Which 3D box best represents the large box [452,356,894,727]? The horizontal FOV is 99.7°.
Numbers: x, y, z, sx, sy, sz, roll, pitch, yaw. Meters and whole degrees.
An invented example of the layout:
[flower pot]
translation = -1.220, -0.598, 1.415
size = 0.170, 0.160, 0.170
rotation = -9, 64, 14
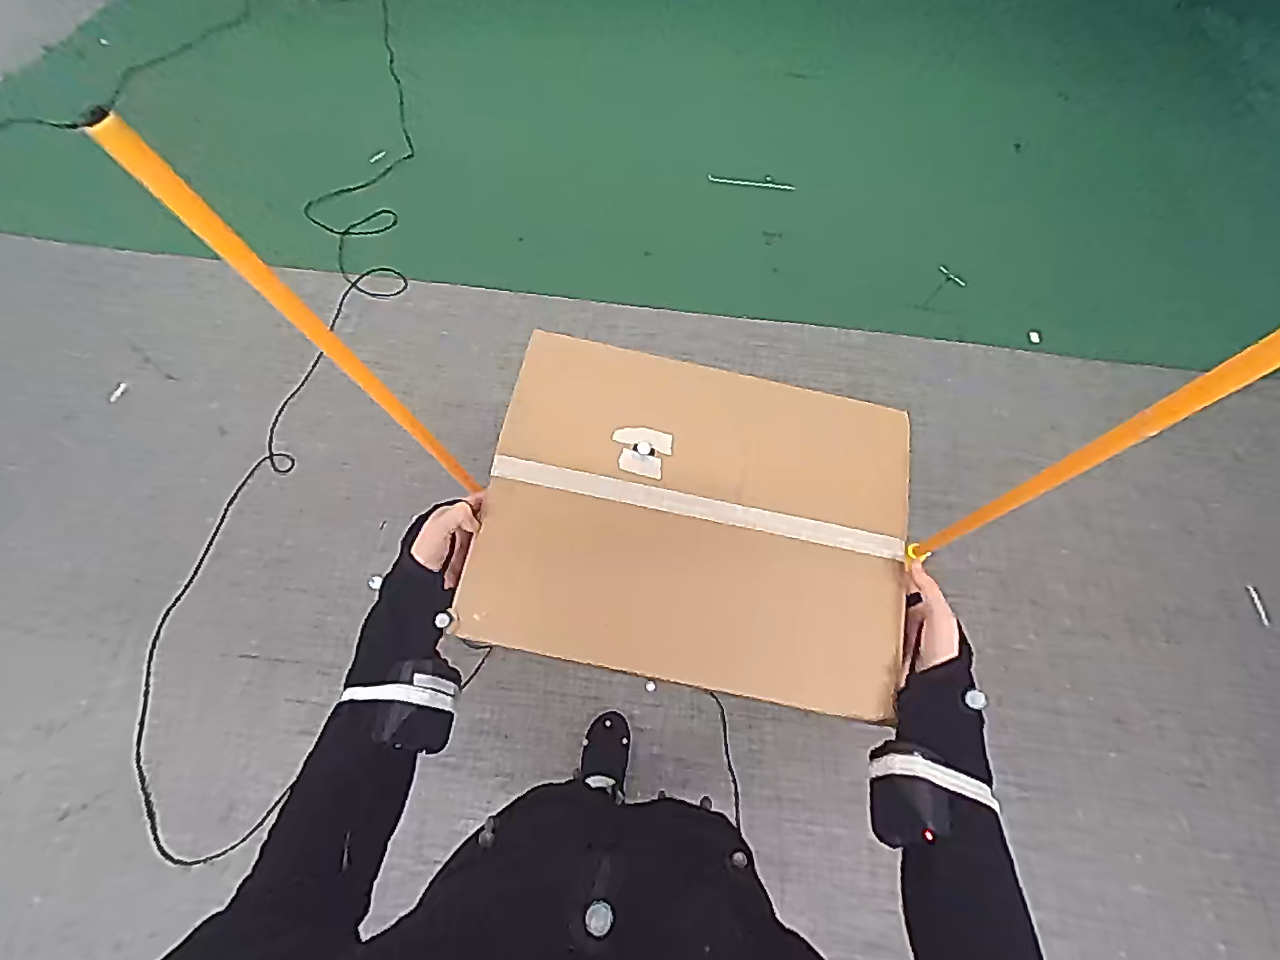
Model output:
[large box]
translation = 0.044, 0.091, 0.672
size = 0.408, 0.320, 0.320
rotation = 12, 70, 0
